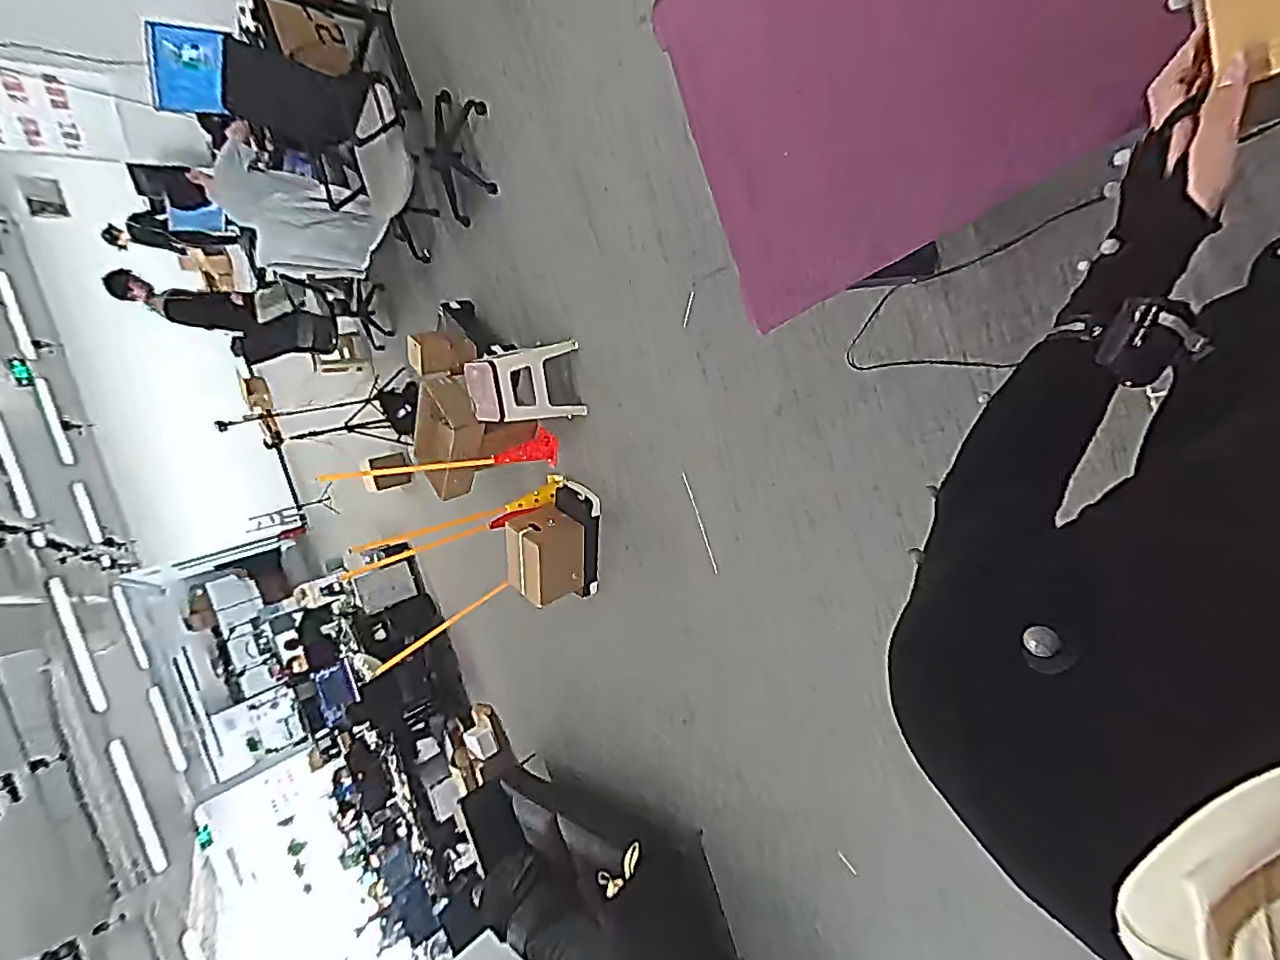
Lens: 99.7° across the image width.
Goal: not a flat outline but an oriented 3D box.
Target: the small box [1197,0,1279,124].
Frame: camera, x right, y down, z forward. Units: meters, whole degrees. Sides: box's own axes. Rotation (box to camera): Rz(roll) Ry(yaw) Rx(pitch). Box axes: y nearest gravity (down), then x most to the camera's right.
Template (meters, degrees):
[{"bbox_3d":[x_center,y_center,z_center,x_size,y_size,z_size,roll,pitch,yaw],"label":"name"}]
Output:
[{"bbox_3d":[0.526,-0.395,0.393,0.168,0.176,0.179,-8,95,48],"label":"small box"}]
